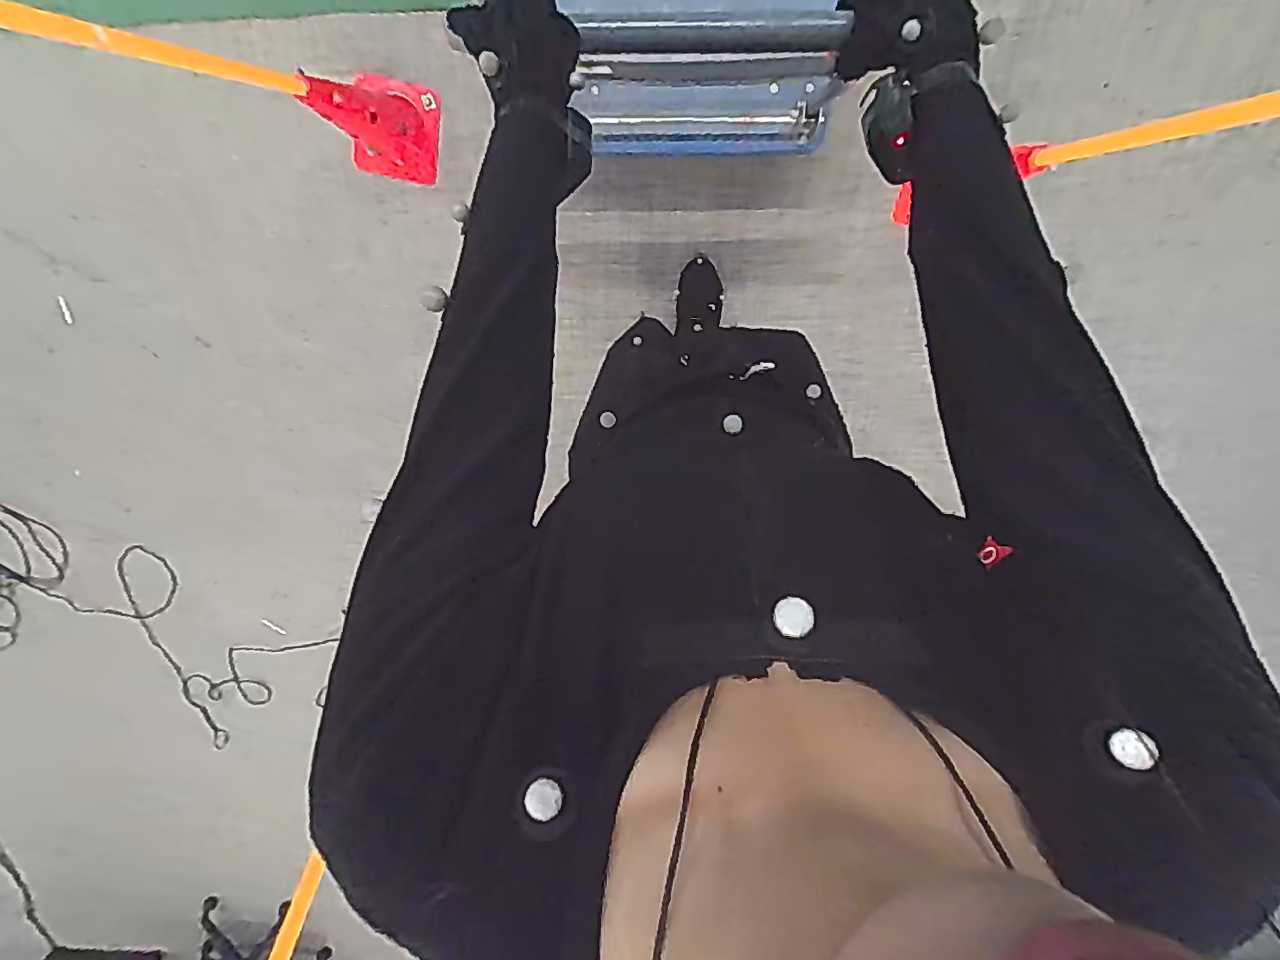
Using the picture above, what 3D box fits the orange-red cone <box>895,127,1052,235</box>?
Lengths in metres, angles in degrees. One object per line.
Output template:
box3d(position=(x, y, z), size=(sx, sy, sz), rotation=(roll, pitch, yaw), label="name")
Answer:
box3d(position=(0.699, -0.619, 1.086), size=(0.198, 0.360, 0.199), rotation=(11, 113, 0), label="orange-red cone")
